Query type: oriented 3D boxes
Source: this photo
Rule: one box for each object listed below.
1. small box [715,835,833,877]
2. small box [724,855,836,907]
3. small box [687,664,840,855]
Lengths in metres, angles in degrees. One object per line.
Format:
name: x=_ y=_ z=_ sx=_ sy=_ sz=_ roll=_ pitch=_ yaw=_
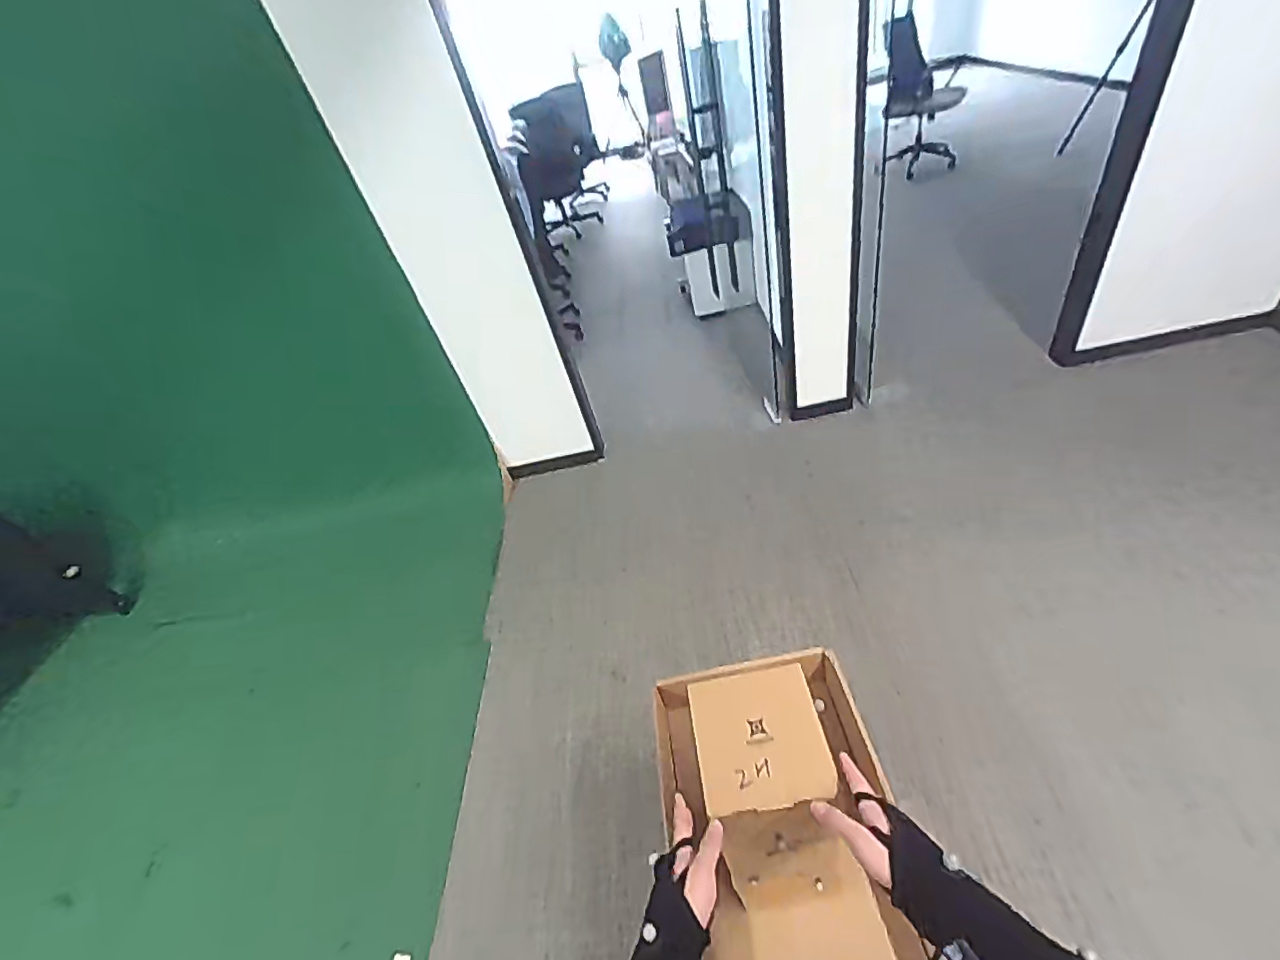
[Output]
small box: x=0.203 y=0.508 z=0.860 sx=0.168 sy=0.176 sz=0.179 roll=-11 pitch=39 yaw=6
small box: x=0.236 y=0.632 z=0.961 sx=0.179 sy=0.176 sz=0.168 roll=-12 pitch=40 yaw=5
small box: x=0.166 y=0.388 z=0.753 sx=0.168 sy=0.176 sz=0.179 roll=-12 pitch=40 yaw=5
